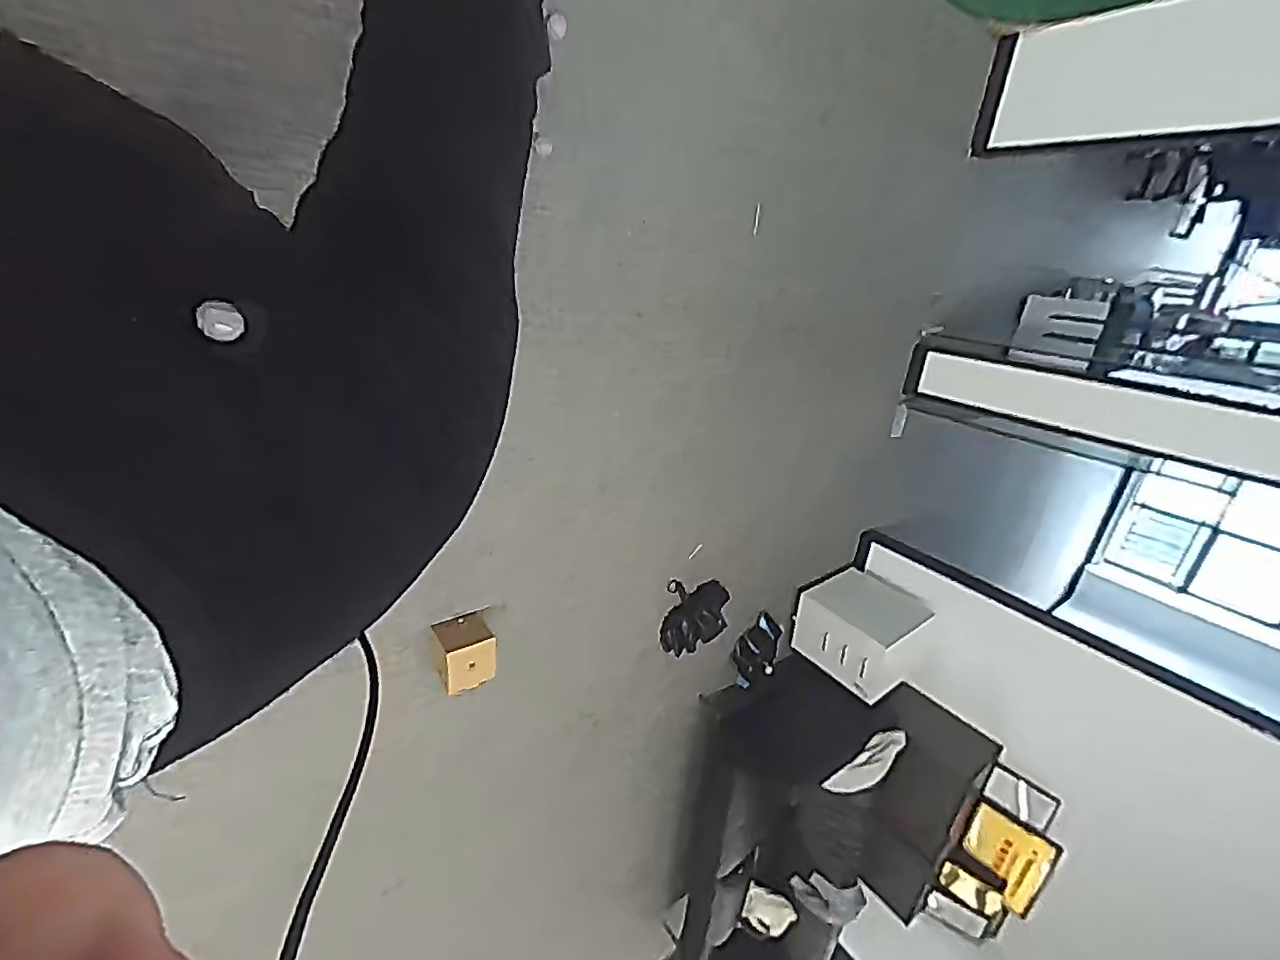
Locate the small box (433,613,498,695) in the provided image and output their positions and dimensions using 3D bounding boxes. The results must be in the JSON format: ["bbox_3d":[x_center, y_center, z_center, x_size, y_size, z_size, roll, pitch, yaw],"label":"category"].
[{"bbox_3d":[-0.597,0.587,1.848,0.168,0.176,0.179,-14,118,-36],"label":"small box"}]
